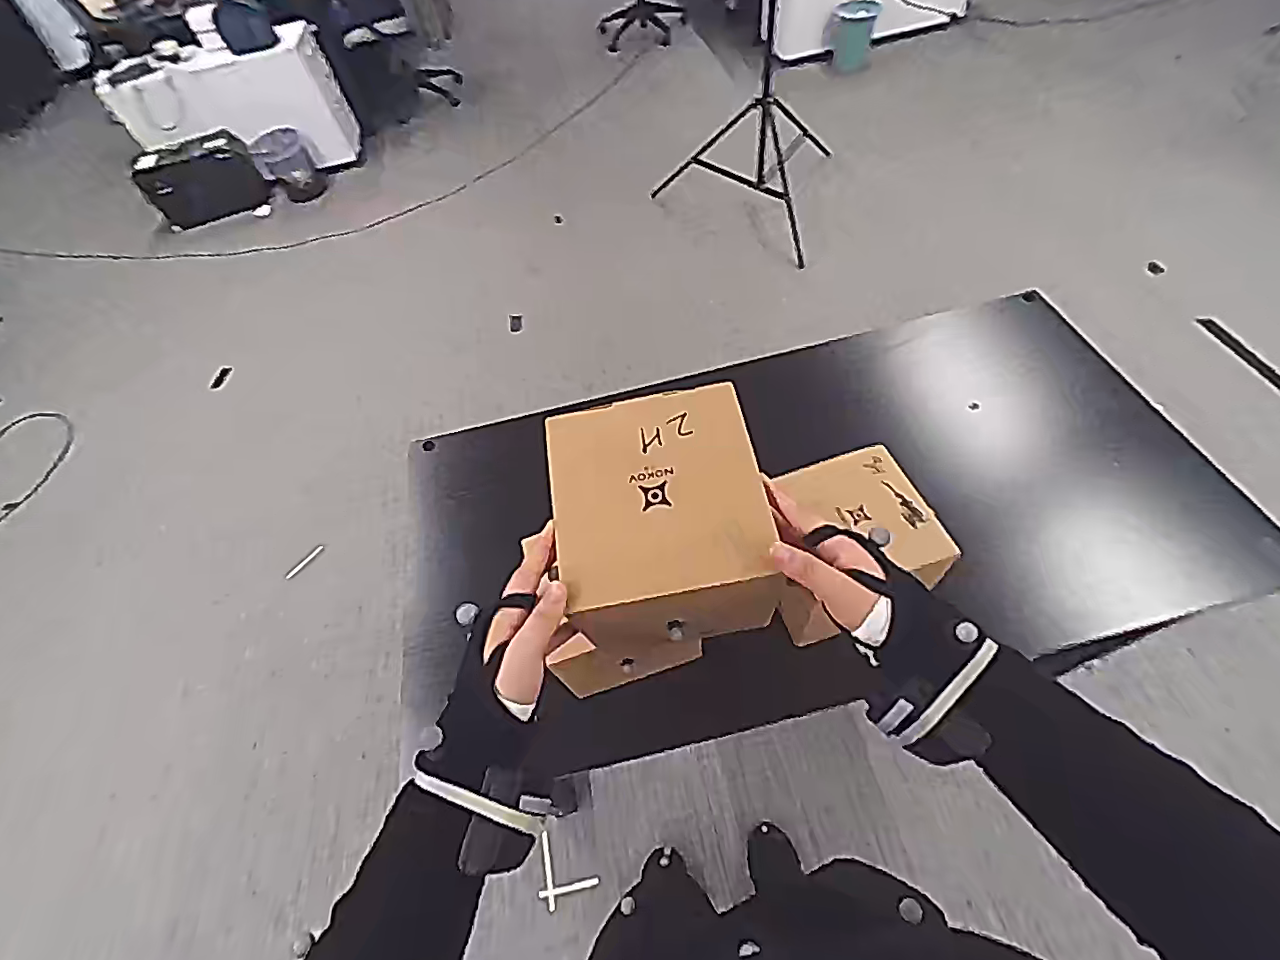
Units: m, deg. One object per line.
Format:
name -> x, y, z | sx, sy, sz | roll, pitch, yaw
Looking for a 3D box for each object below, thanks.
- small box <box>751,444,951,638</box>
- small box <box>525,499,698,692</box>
small box -> 0.256, 0.087, 0.707 | 0.179, 0.176, 0.168 | -18, 56, -3
small box -> -0.031, 0.155, 0.704 | 0.179, 0.176, 0.168 | -18, 56, -3
